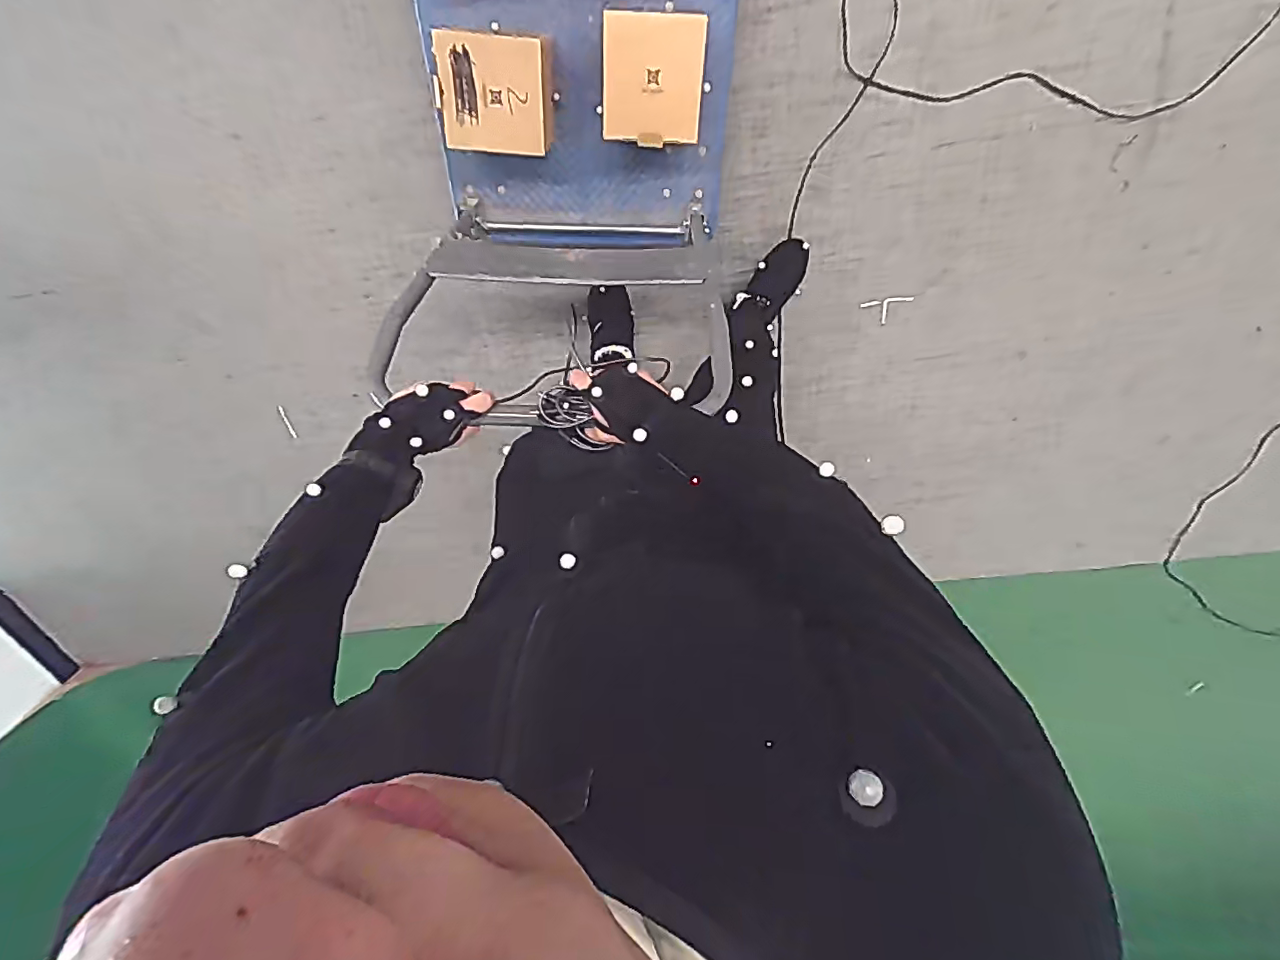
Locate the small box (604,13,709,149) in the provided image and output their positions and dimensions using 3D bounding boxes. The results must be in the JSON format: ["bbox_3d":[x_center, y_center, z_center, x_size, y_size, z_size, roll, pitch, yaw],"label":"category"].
[{"bbox_3d":[0.023,-0.705,0.957,0.168,0.176,0.179,3,130,-1],"label":"small box"}]
